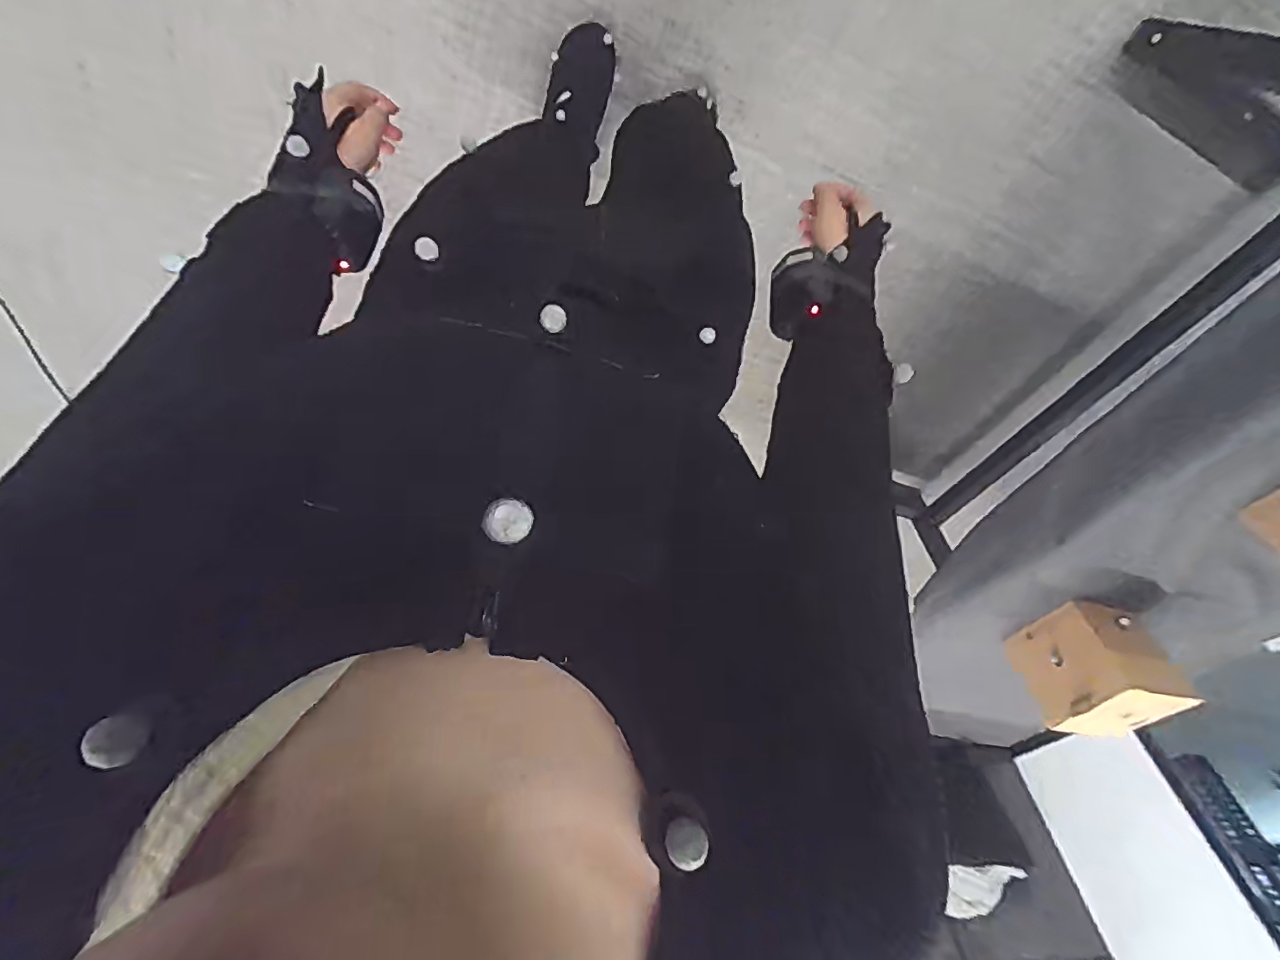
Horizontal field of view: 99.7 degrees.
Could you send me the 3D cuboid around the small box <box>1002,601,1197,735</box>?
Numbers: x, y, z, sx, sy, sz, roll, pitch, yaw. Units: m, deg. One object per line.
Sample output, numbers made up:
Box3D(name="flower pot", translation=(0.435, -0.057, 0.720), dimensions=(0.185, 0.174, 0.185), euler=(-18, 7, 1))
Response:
Box3D(name="small box", translation=(0.815, 0.339, 0.982), dimensions=(0.179, 0.176, 0.168), euler=(14, 133, -16))
